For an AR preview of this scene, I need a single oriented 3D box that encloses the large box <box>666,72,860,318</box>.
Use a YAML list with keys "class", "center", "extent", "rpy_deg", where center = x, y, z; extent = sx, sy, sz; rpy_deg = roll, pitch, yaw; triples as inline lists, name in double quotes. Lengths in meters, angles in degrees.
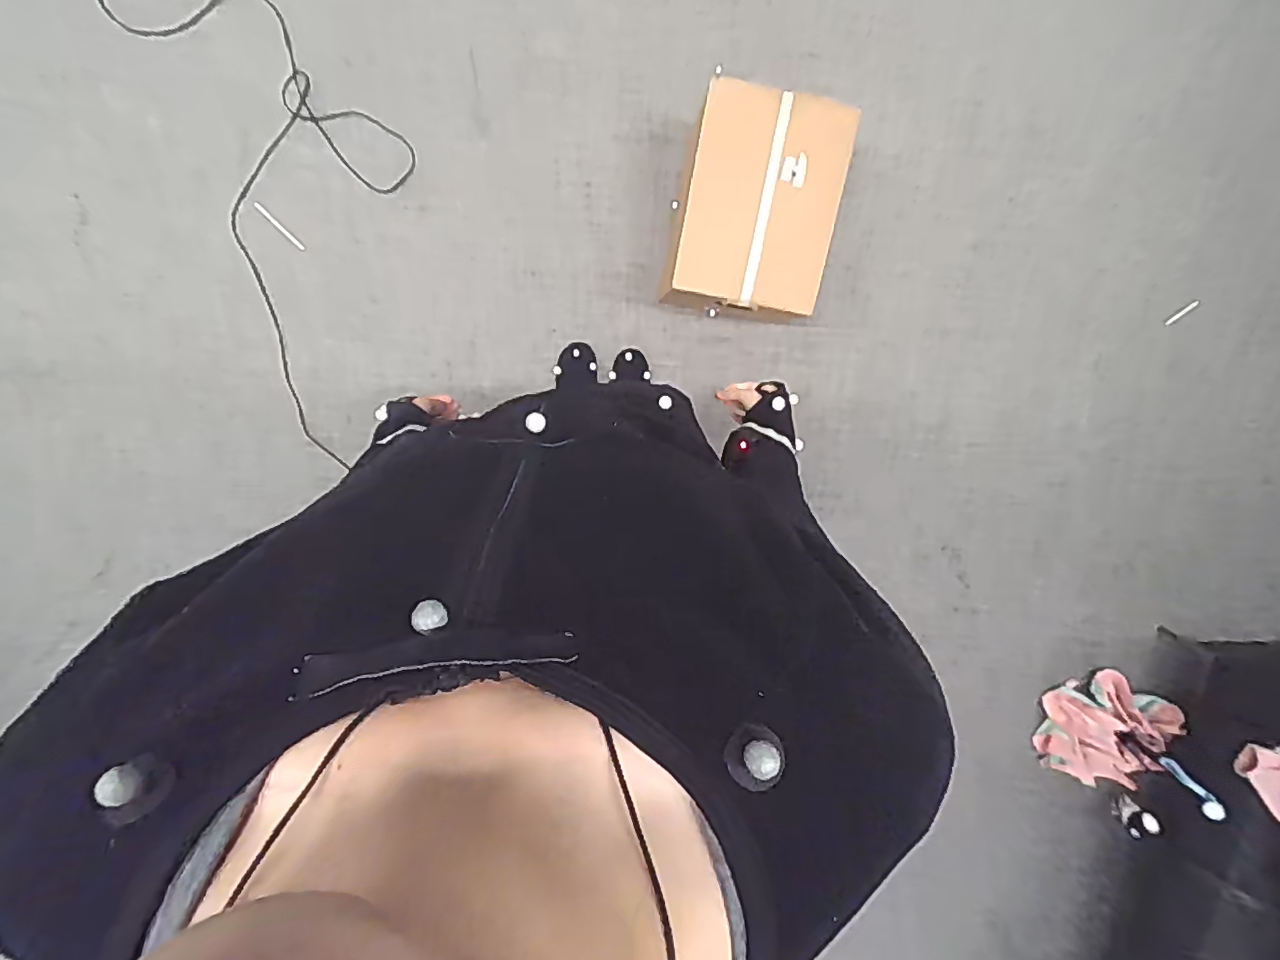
- class: "large box"
  center: [0.251, -0.612, 1.249]
  extent: [0.320, 0.320, 0.408]
  rpy_deg: [9, 102, -6]
